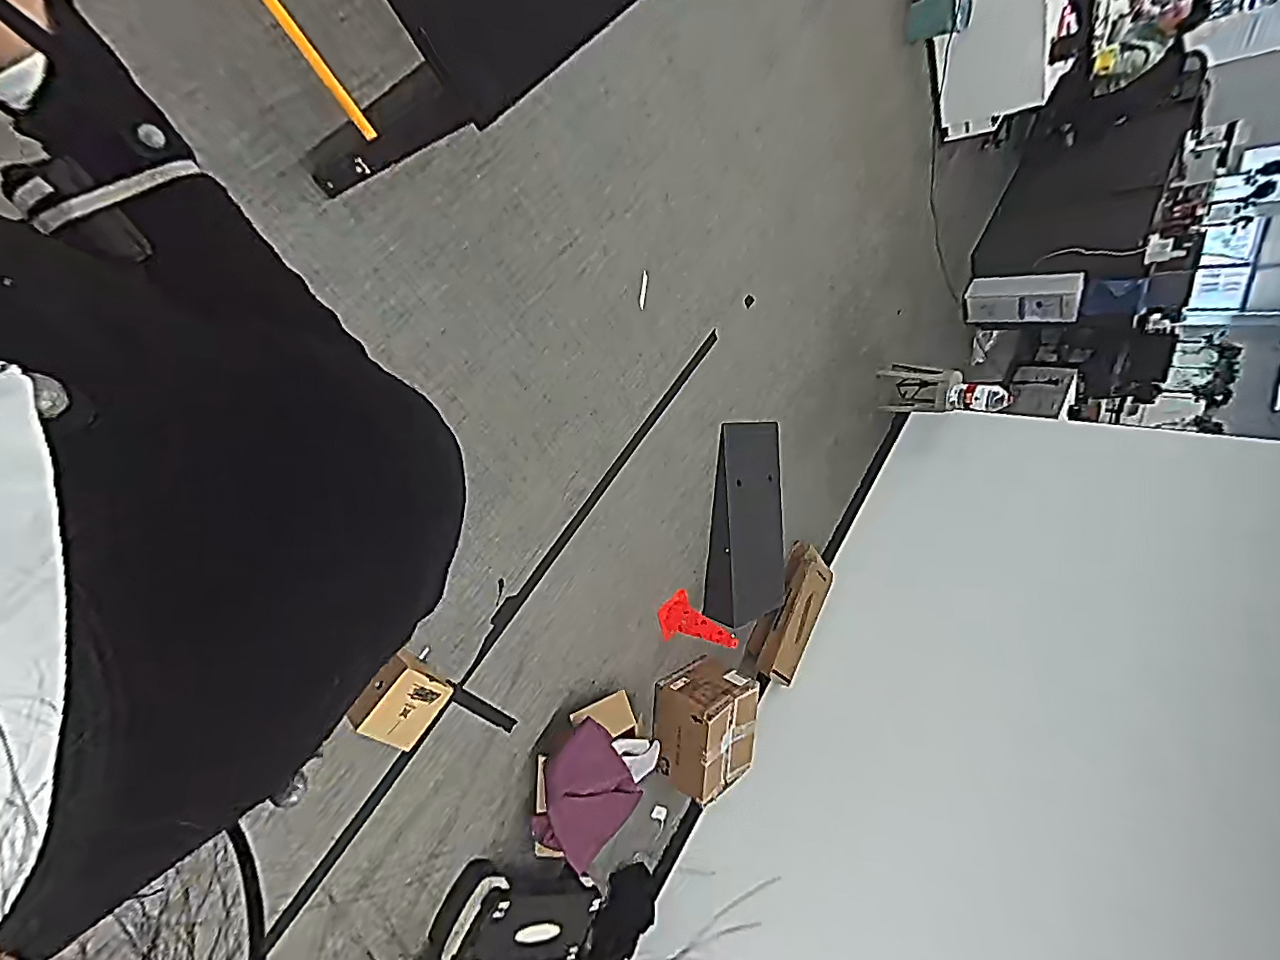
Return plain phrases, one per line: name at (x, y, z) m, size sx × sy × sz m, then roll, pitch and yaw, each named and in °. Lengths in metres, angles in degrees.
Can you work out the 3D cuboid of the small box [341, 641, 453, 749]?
small box at (-0.623, 0.541, 1.380) m, size 0.179 × 0.176 × 0.168 m, roll -54°, pitch 133°, yaw -19°
